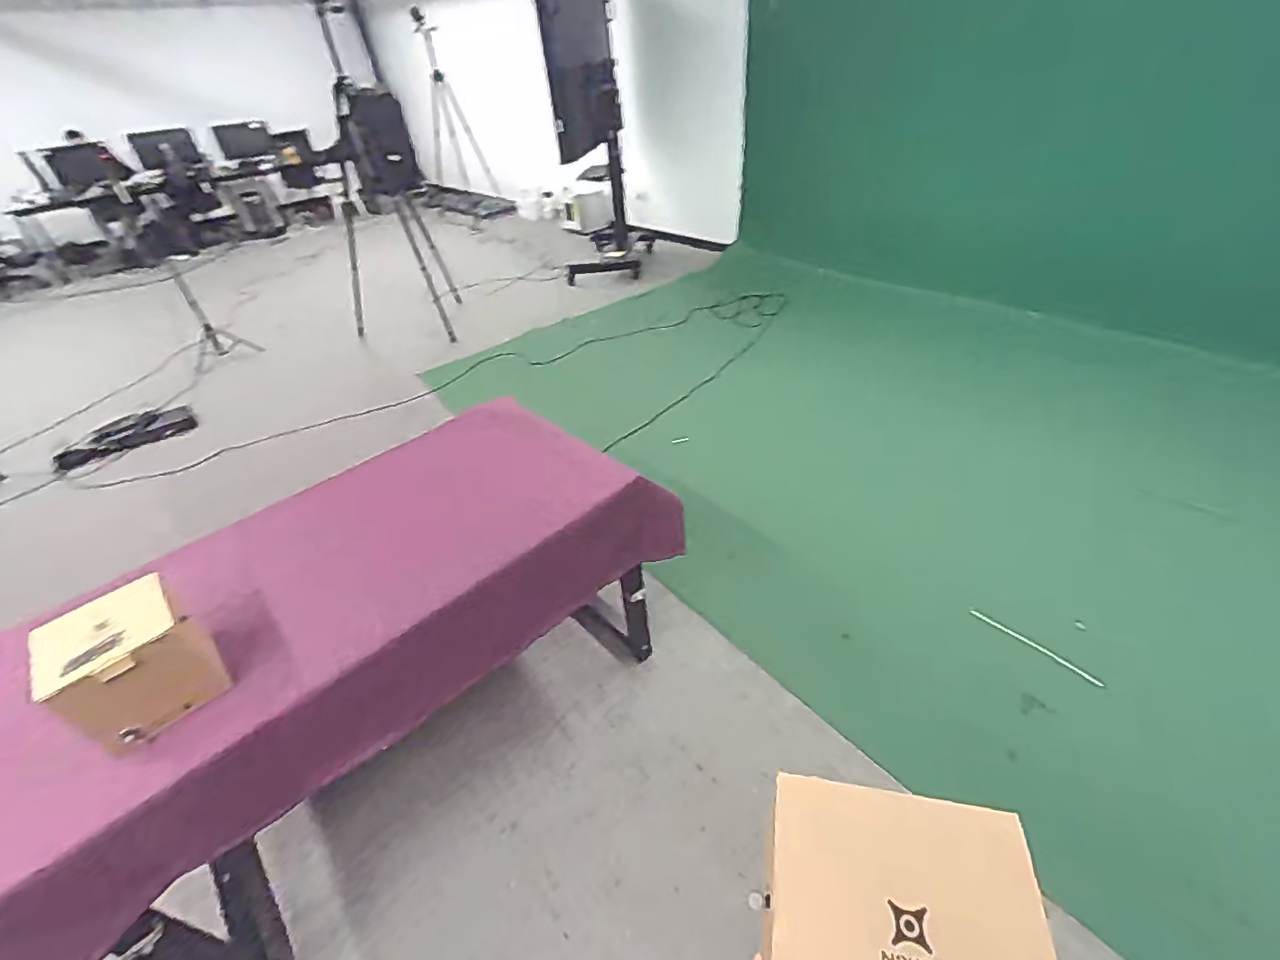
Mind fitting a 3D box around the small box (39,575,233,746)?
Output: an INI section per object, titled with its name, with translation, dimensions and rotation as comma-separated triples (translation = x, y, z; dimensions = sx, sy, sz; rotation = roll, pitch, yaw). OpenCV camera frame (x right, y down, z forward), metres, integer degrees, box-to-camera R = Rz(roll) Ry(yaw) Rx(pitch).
[small box]
translation = -0.805, 0.295, 0.876
dimensions = 0.168, 0.176, 0.179
rotation = -34, 45, -31
